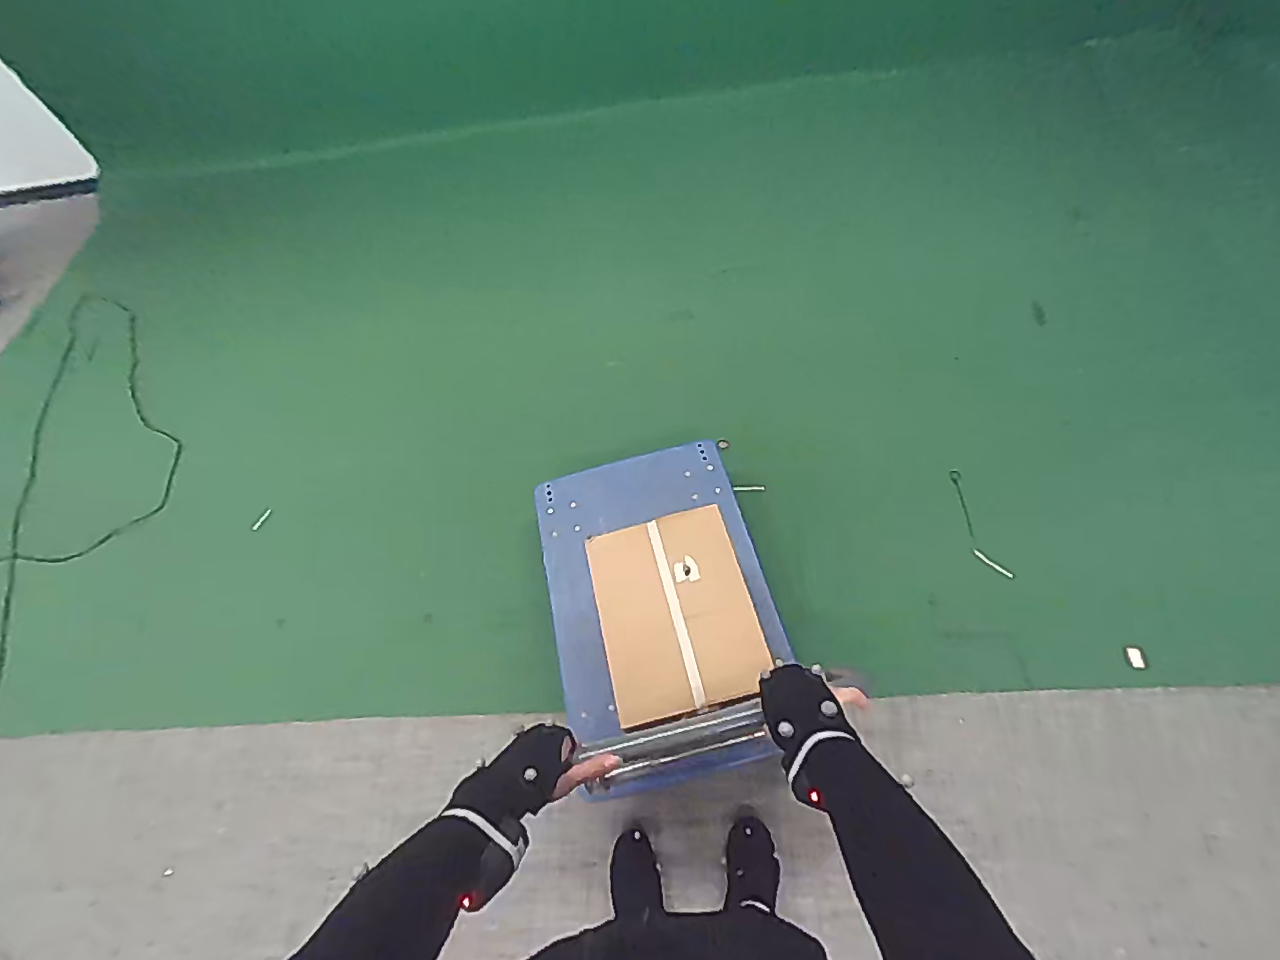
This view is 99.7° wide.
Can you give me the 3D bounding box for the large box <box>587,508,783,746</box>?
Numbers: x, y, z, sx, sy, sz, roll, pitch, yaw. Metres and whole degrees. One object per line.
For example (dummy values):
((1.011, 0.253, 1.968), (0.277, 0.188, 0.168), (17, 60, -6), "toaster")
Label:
((0.097, 0.339, 1.226), (0.320, 0.320, 0.408), (-15, 58, -1), "large box")
